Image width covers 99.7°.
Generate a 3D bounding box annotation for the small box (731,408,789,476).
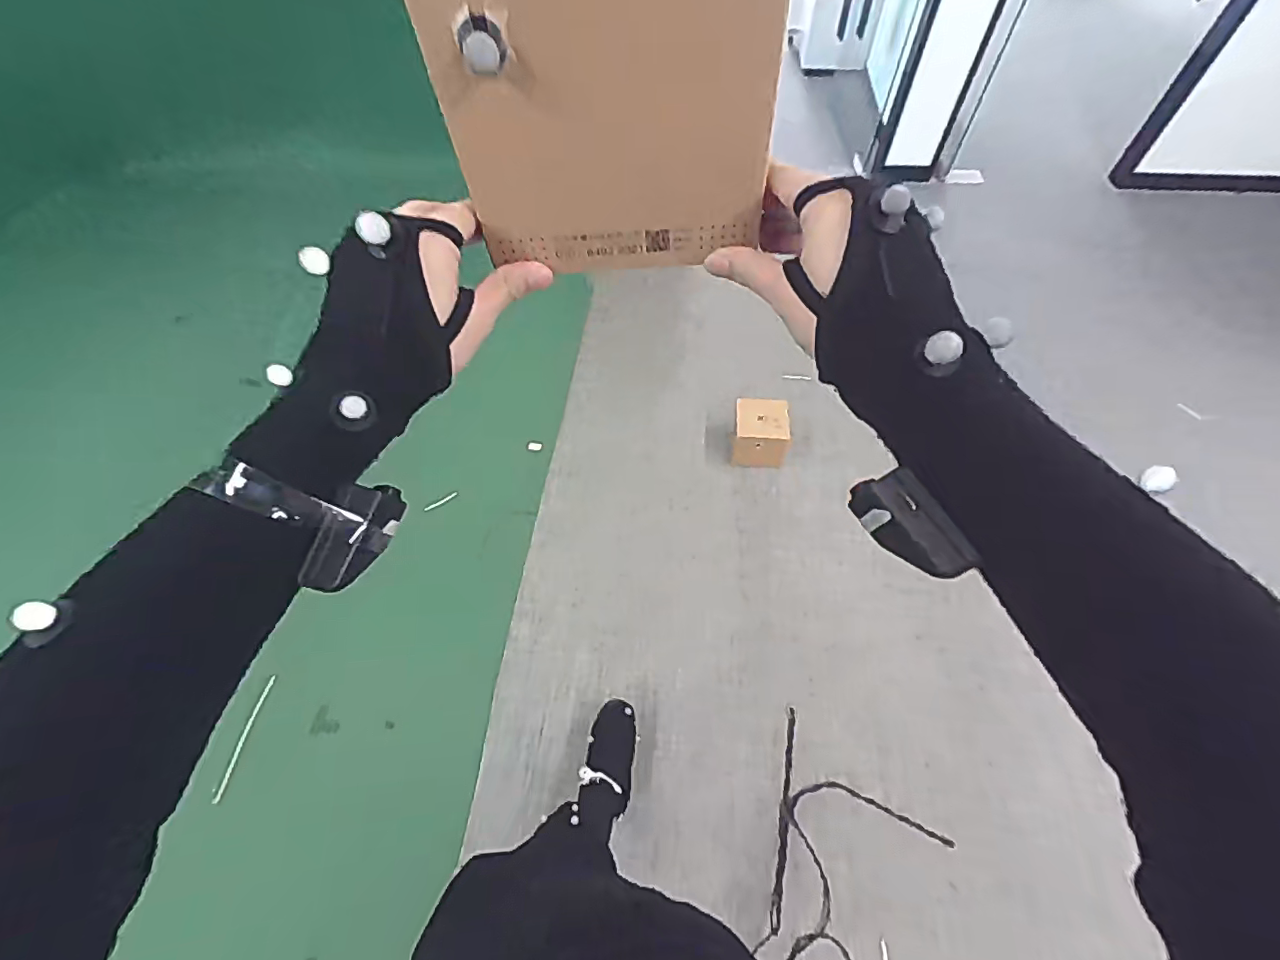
[{"bbox_3d":[0.410,-0.129,1.876,0.179,0.176,0.168,4,57,4],"label":"small box"}]
